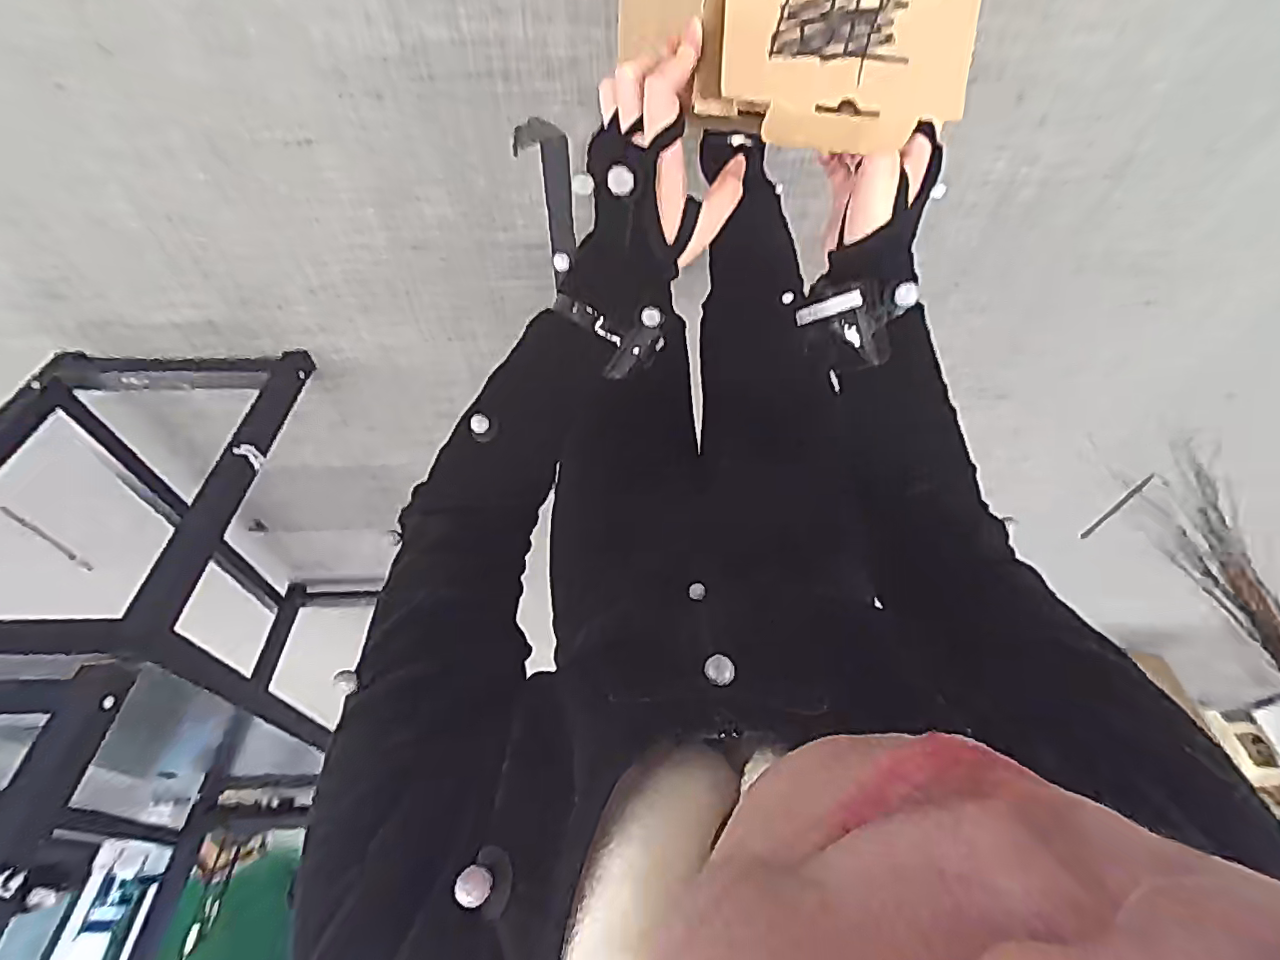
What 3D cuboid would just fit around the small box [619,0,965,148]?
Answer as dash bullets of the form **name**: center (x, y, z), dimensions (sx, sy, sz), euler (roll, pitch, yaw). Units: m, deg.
- **small box**: center (0.088, -0.325, 0.350), dimensions (0.168, 0.176, 0.179), euler (-6, 122, -18)
